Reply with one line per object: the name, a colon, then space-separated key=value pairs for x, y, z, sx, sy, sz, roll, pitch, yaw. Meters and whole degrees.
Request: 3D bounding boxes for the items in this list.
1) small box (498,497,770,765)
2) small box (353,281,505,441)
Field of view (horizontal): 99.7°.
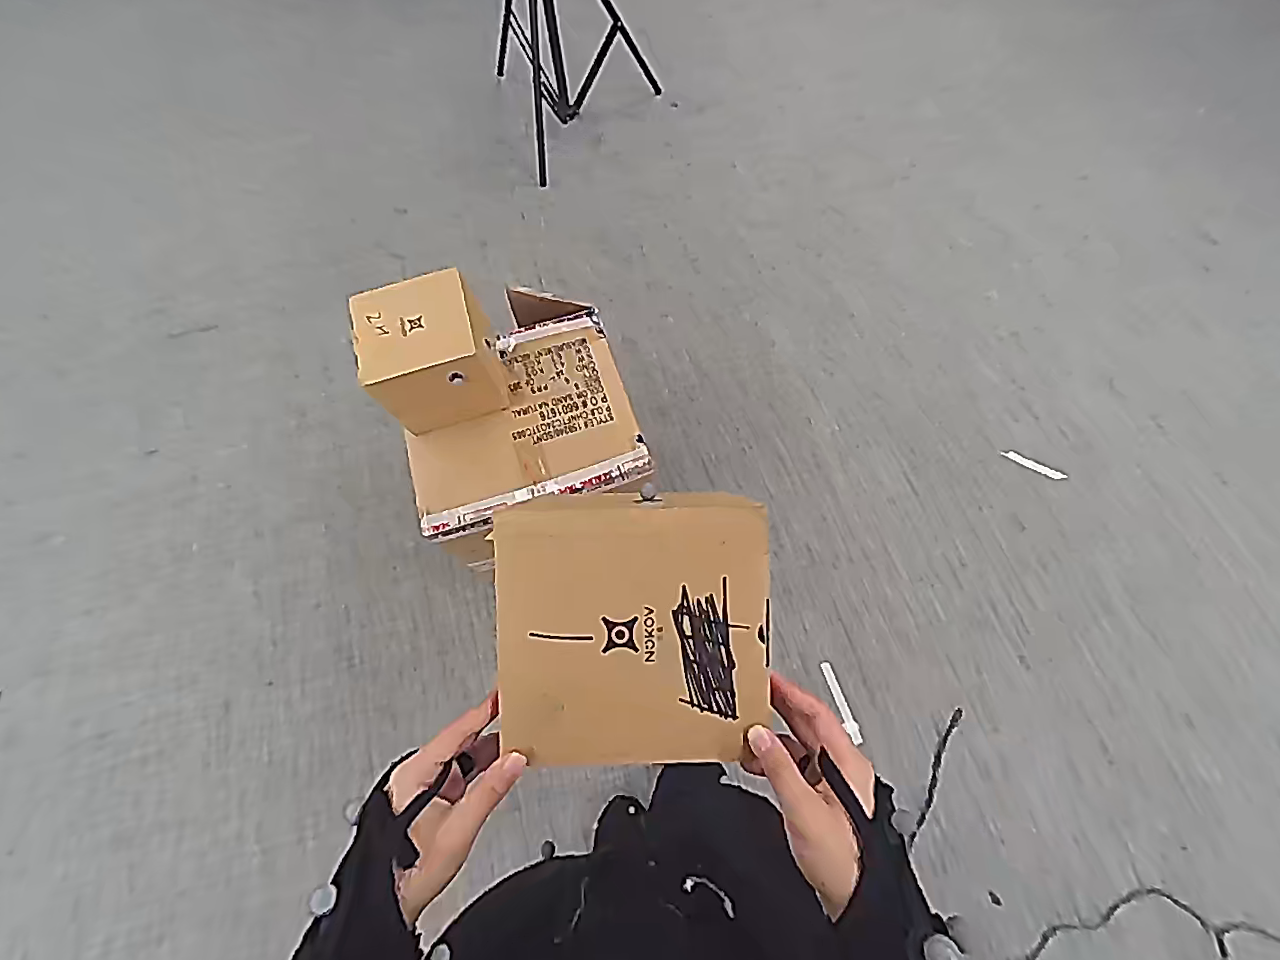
small box: x=-0.005 y=0.100 z=0.430 sx=0.179 sy=0.176 sz=0.168 roll=-2 pitch=90 yaw=0
small box: x=-0.332 y=-0.186 z=0.882 sx=0.179 sy=0.176 sz=0.168 roll=-17 pitch=69 yaw=-2
